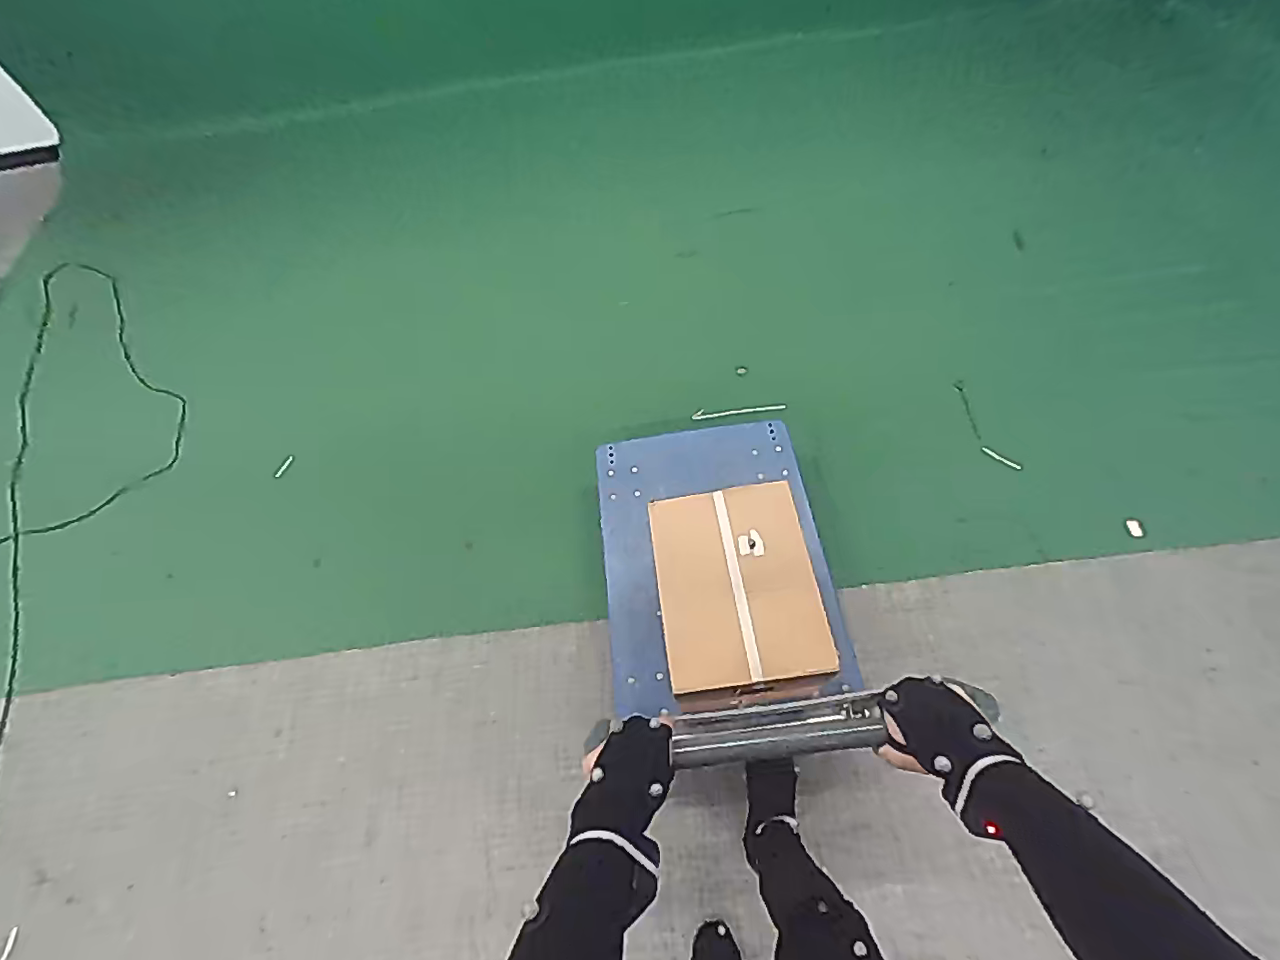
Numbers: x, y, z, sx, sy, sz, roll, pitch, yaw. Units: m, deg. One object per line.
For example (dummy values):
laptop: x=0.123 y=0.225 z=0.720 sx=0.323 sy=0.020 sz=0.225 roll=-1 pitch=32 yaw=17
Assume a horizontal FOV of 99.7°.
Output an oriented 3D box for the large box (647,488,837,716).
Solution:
large box: x=0.210 y=0.285 z=1.228 sx=0.320 sy=0.320 sz=0.408 roll=-9 pitch=59 yaw=2
